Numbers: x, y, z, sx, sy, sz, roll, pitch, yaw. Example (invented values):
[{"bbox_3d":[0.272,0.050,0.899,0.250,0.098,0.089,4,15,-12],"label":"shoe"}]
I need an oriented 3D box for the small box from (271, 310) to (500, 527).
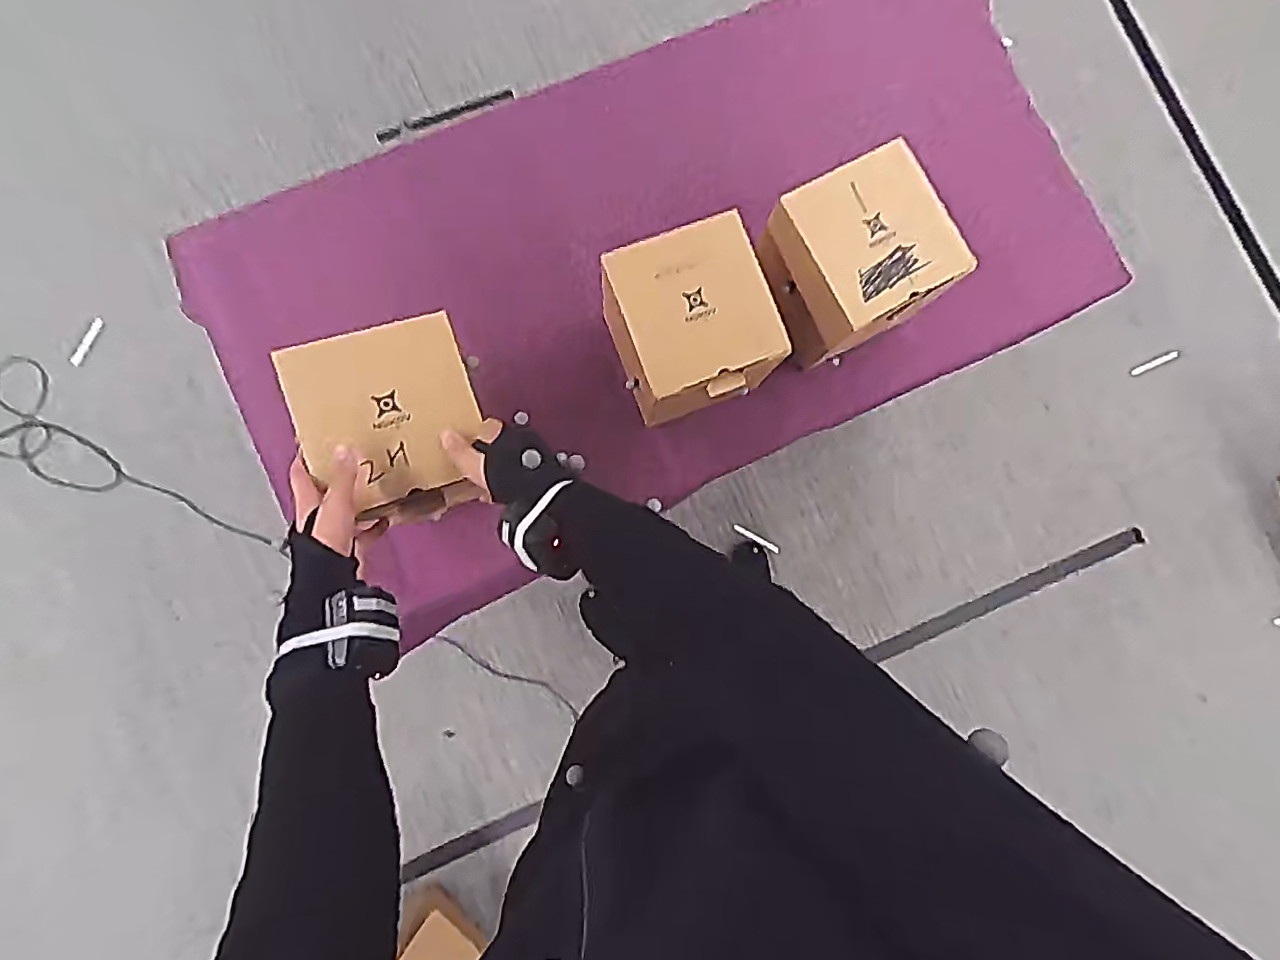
[{"bbox_3d":[-0.262,-0.056,0.597,0.168,0.176,0.179,-19,87,-14],"label":"small box"}]

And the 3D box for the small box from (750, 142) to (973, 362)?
[{"bbox_3d":[0.264,-0.268,0.687,0.168,0.176,0.179,-28,86,-4],"label":"small box"}]
